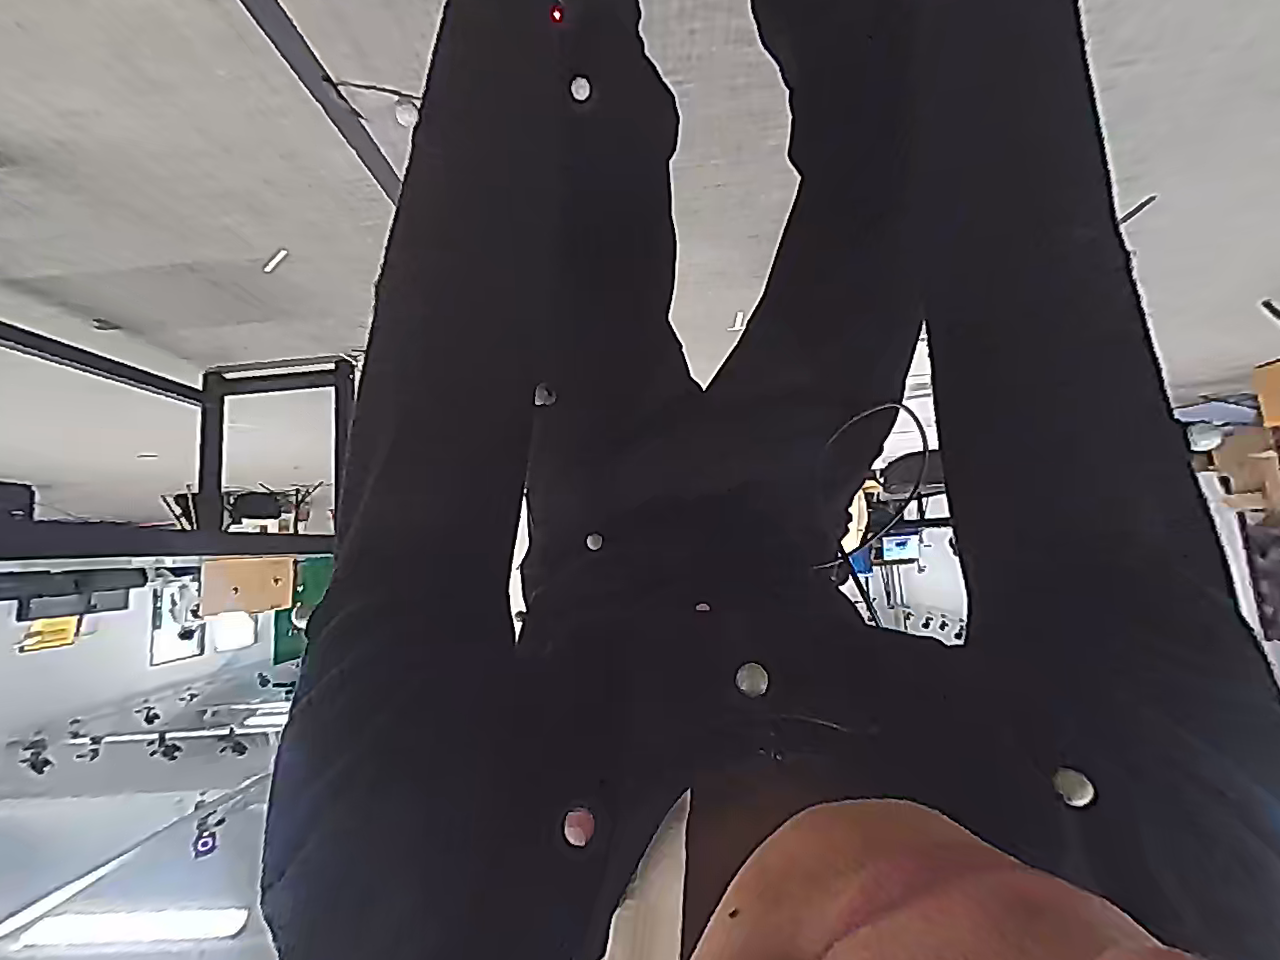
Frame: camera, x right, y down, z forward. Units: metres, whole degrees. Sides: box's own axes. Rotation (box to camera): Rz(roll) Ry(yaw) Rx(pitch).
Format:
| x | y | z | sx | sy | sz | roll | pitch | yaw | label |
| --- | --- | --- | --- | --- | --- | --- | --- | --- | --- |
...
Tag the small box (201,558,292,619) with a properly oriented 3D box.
| x | y | z | sx | sy | sz | roll | pitch | yaw | label |
| --- | --- | --- | --- | --- | --- | --- | --- | --- | --- |
| -1.227 | 0.332 | 1.692 | 0.179 | 0.176 | 0.168 | -4 | 172 | -2 | small box |
